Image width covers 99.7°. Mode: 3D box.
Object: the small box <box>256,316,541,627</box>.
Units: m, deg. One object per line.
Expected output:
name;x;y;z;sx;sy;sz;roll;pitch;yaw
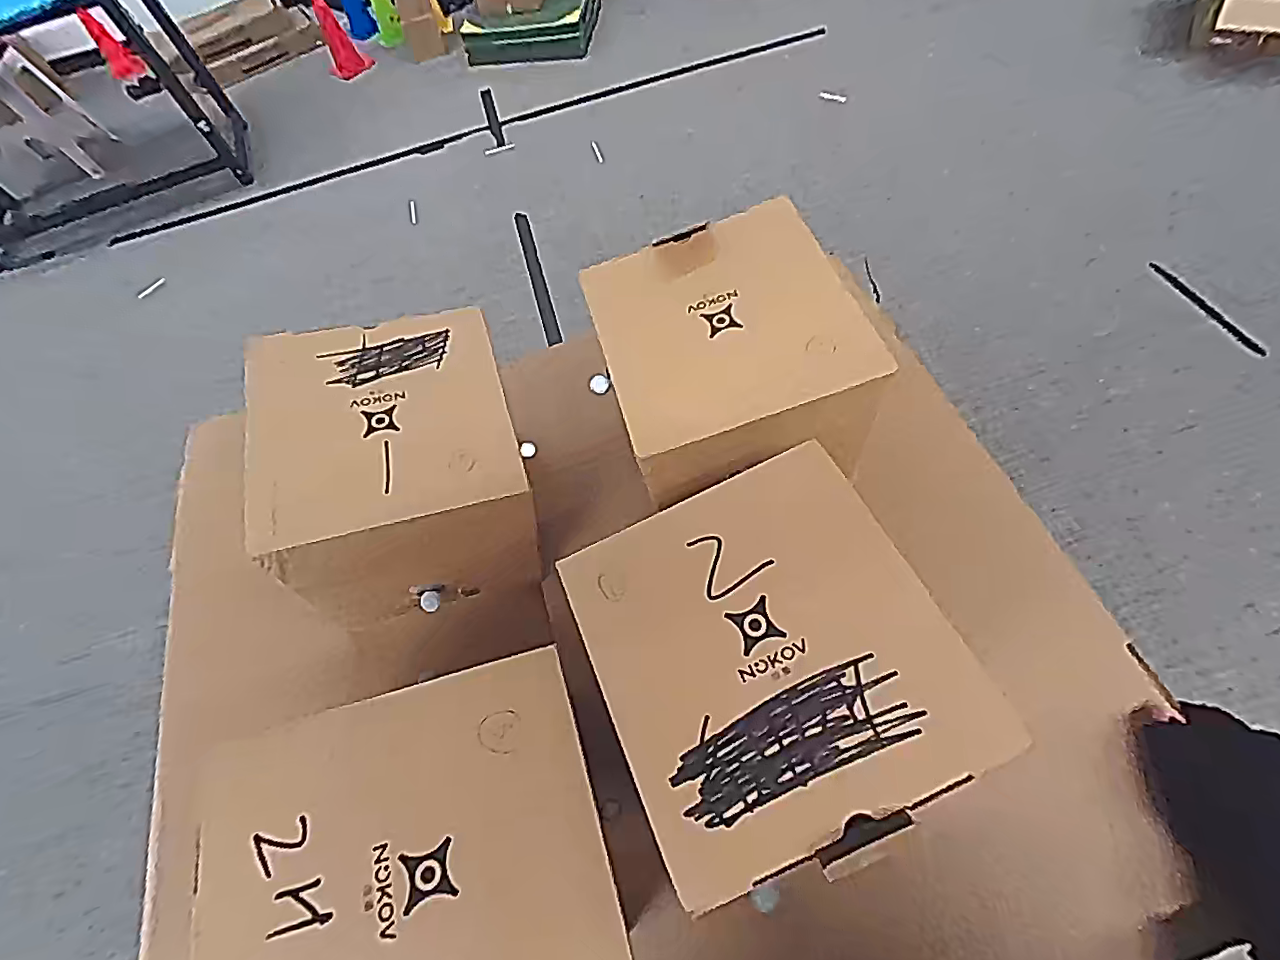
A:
small box;-0.182;-0.003;0.445;0.168;0.176;0.179;-14;62;-14

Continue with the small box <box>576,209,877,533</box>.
small box;0.065;-0.072;0.442;0.168;0.176;0.179;-19;60;2
